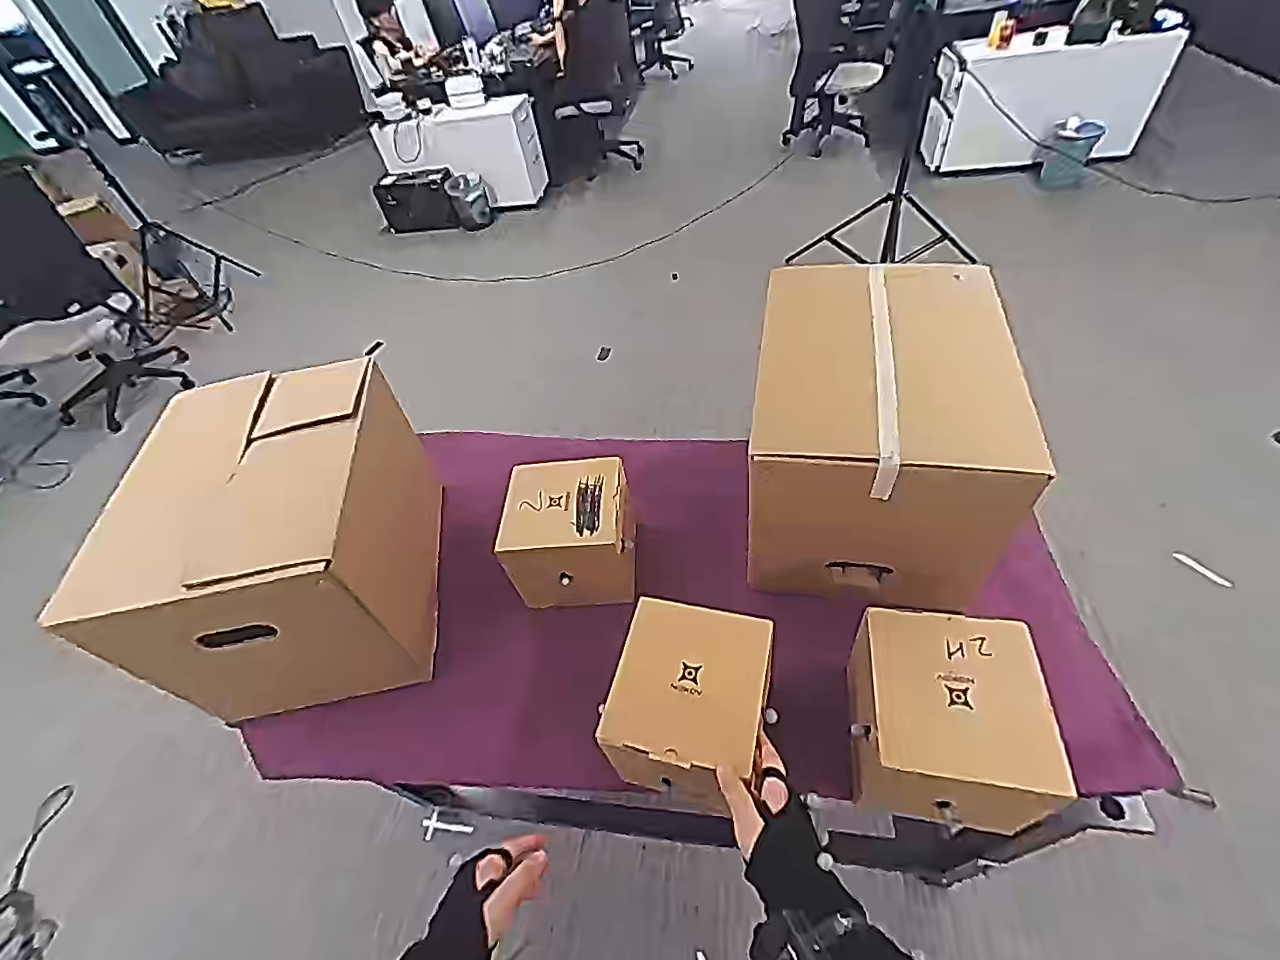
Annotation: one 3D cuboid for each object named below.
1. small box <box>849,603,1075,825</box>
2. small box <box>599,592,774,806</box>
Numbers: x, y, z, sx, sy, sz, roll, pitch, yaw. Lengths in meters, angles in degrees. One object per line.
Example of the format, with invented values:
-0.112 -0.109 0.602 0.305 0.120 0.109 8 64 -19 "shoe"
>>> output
0.336 0.263 0.608 0.168 0.176 0.179 3 47 13 "small box"
0.066 0.266 0.659 0.168 0.176 0.179 7 51 16 "small box"
